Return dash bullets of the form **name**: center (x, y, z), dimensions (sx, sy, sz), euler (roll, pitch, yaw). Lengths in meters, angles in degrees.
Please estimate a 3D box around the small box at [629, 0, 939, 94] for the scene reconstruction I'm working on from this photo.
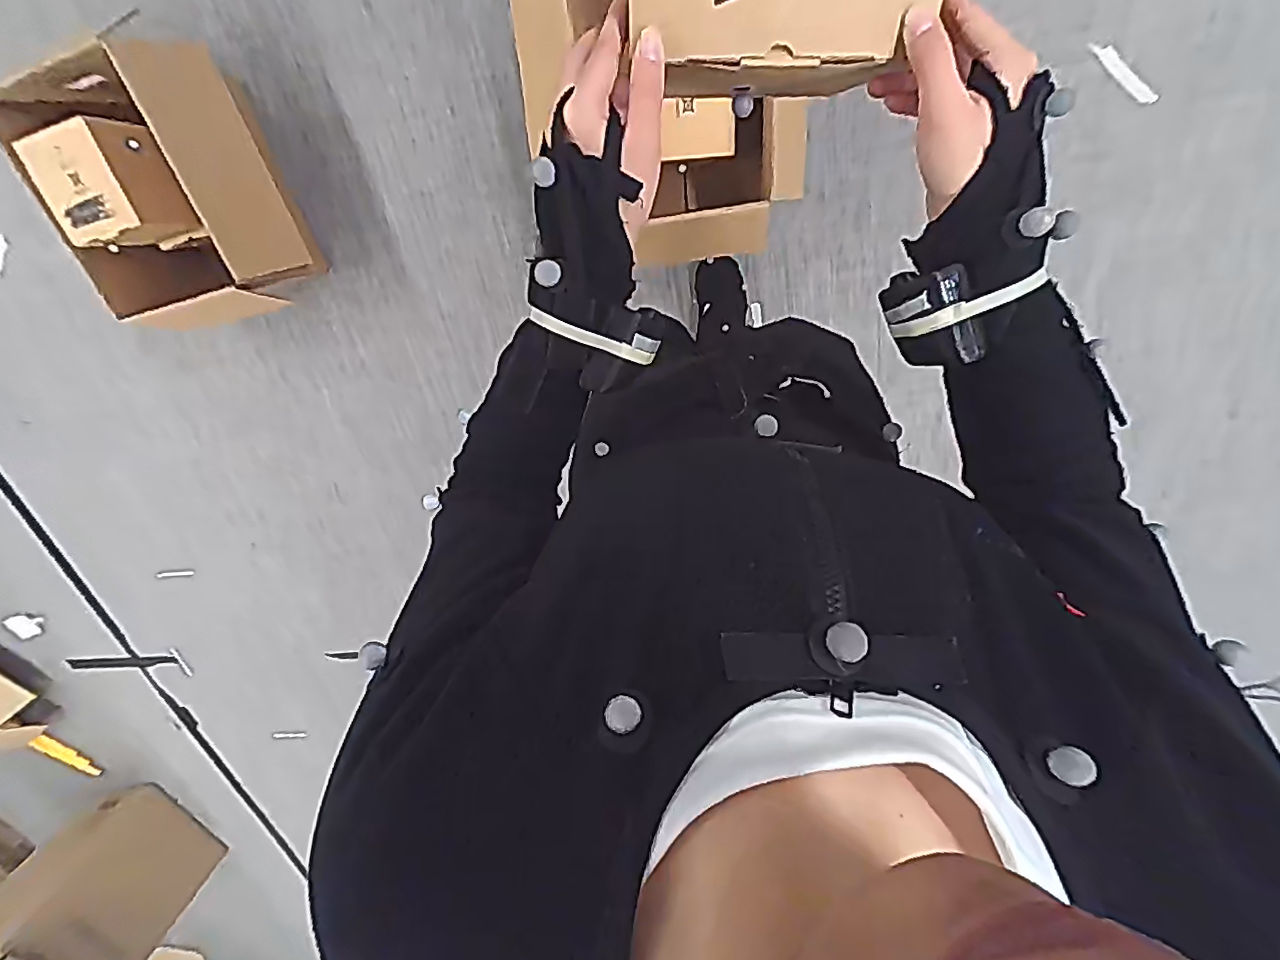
- **small box**: center (0.075, -0.350, 0.325), dimensions (0.168, 0.176, 0.179), euler (-1, 120, 0)
